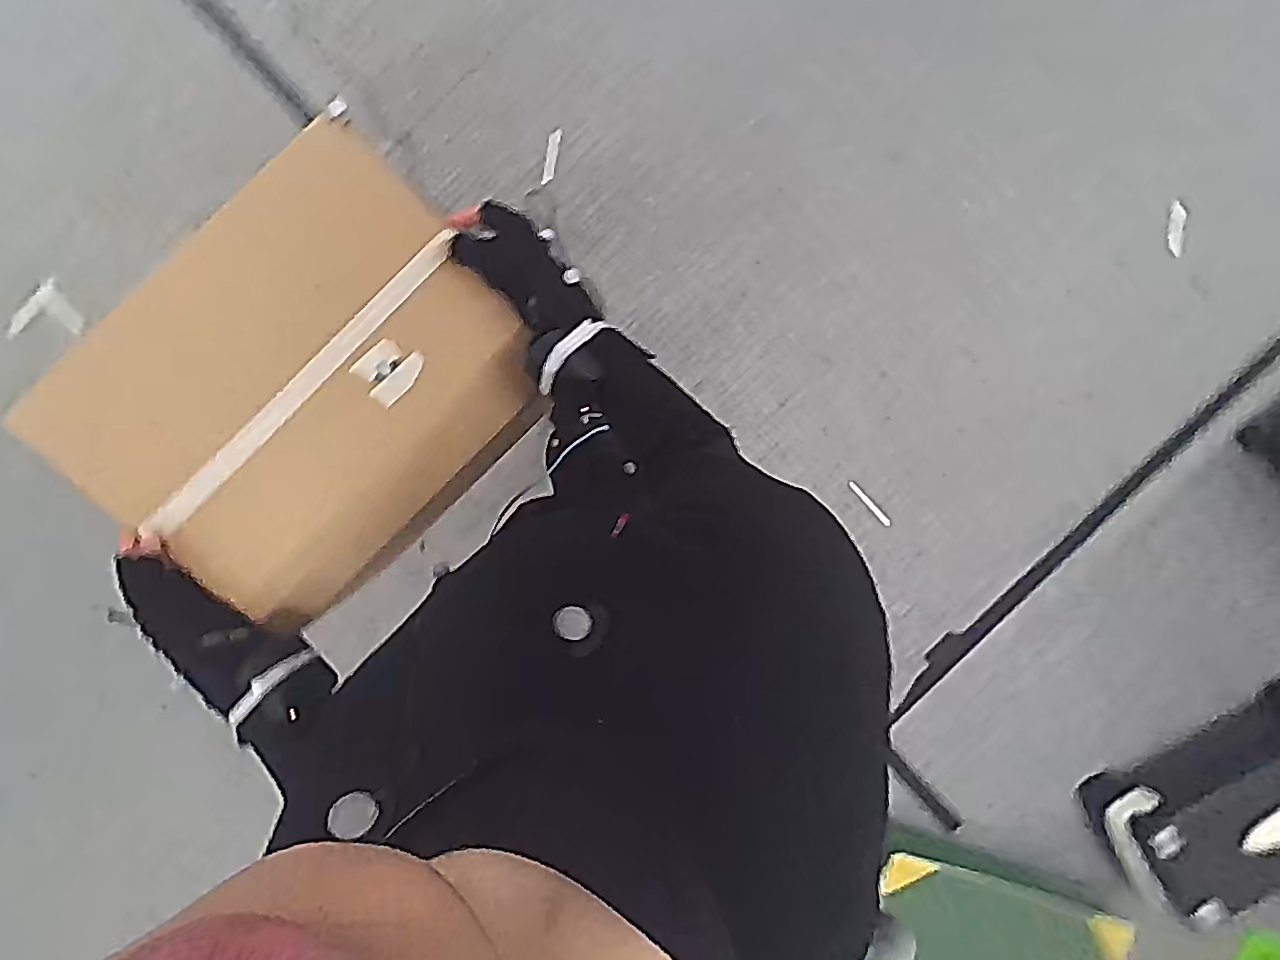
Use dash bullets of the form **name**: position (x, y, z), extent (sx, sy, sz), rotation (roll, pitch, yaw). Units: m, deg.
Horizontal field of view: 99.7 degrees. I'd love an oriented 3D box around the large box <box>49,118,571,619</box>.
- **large box**: position (-0.333, -0.112, 0.679), extent (0.408, 0.320, 0.320), rotation (-45, 99, -2)
